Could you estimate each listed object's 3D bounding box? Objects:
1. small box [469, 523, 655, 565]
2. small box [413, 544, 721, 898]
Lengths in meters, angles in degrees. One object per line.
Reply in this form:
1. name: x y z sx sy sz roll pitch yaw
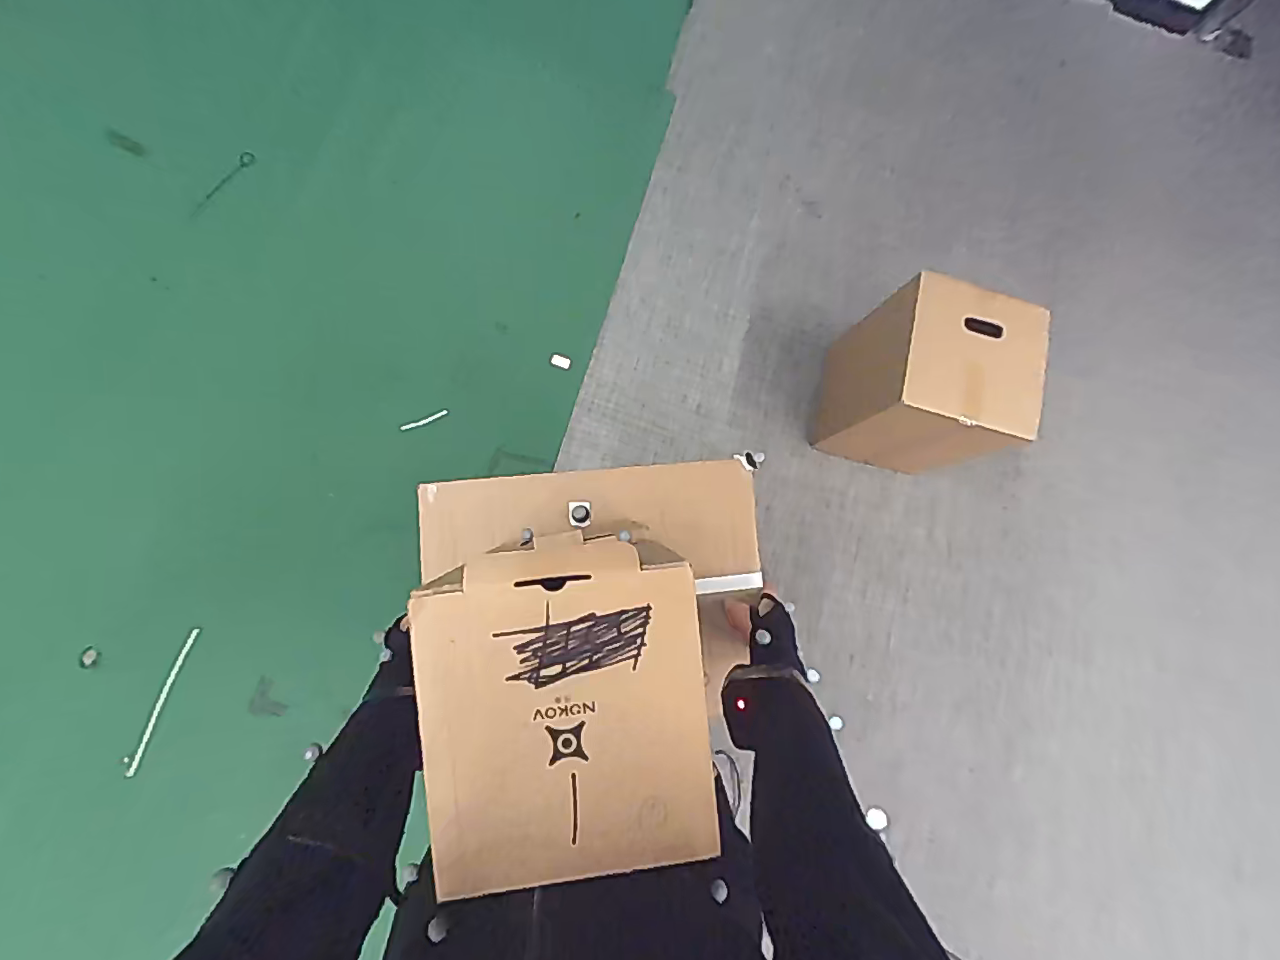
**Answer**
1. small box: -0.064 0.142 0.551 0.168 0.176 0.179 -10 88 -5
2. small box: -0.048 0.141 0.388 0.168 0.176 0.179 -6 89 -5
